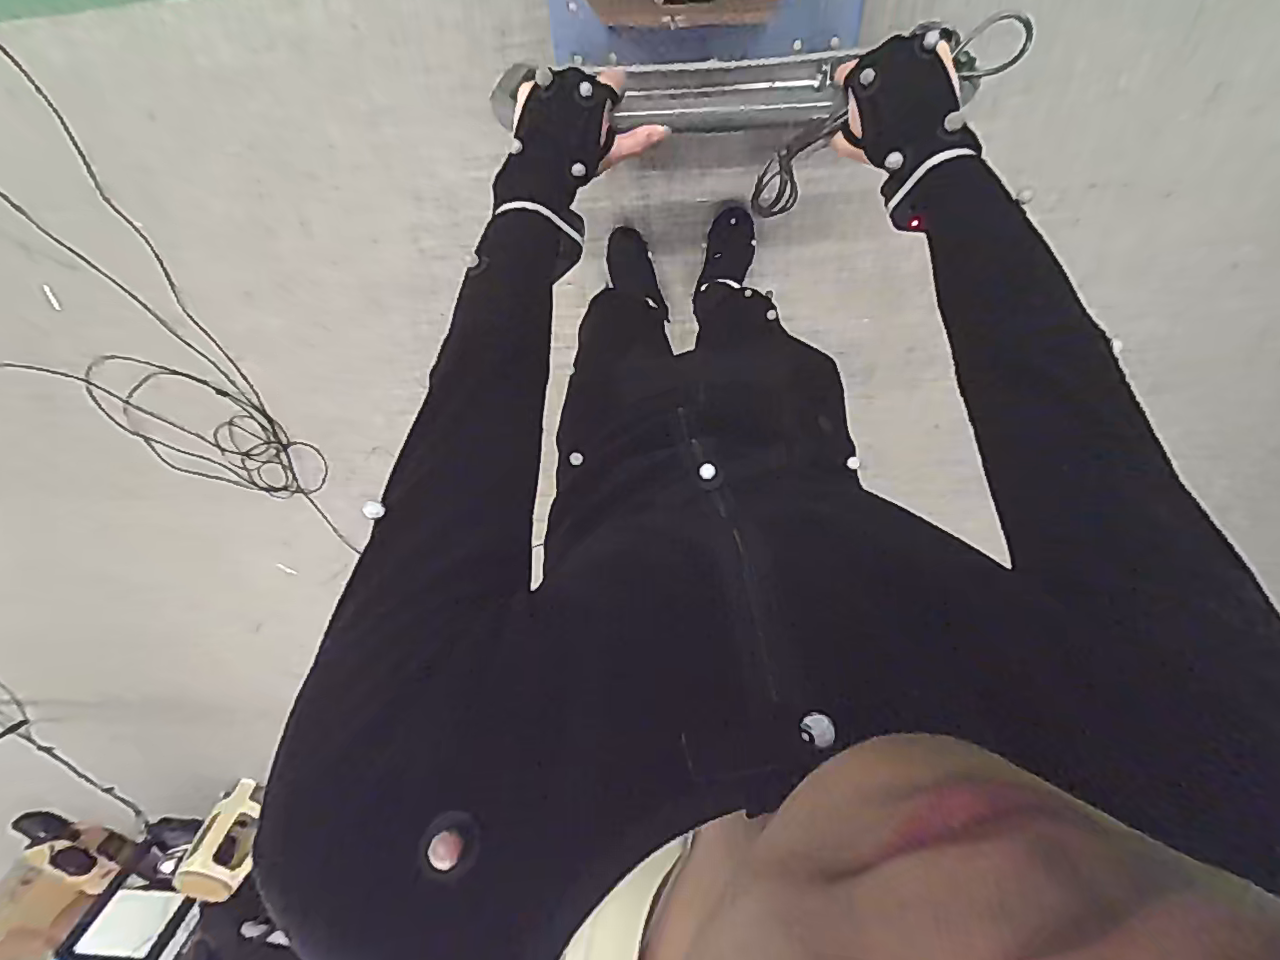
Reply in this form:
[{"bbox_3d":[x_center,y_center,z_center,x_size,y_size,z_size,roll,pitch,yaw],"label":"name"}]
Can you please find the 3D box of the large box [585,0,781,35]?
[{"bbox_3d":[0.072,-0.938,0.792,0.320,0.320,0.408,2,121,3],"label":"large box"}]
